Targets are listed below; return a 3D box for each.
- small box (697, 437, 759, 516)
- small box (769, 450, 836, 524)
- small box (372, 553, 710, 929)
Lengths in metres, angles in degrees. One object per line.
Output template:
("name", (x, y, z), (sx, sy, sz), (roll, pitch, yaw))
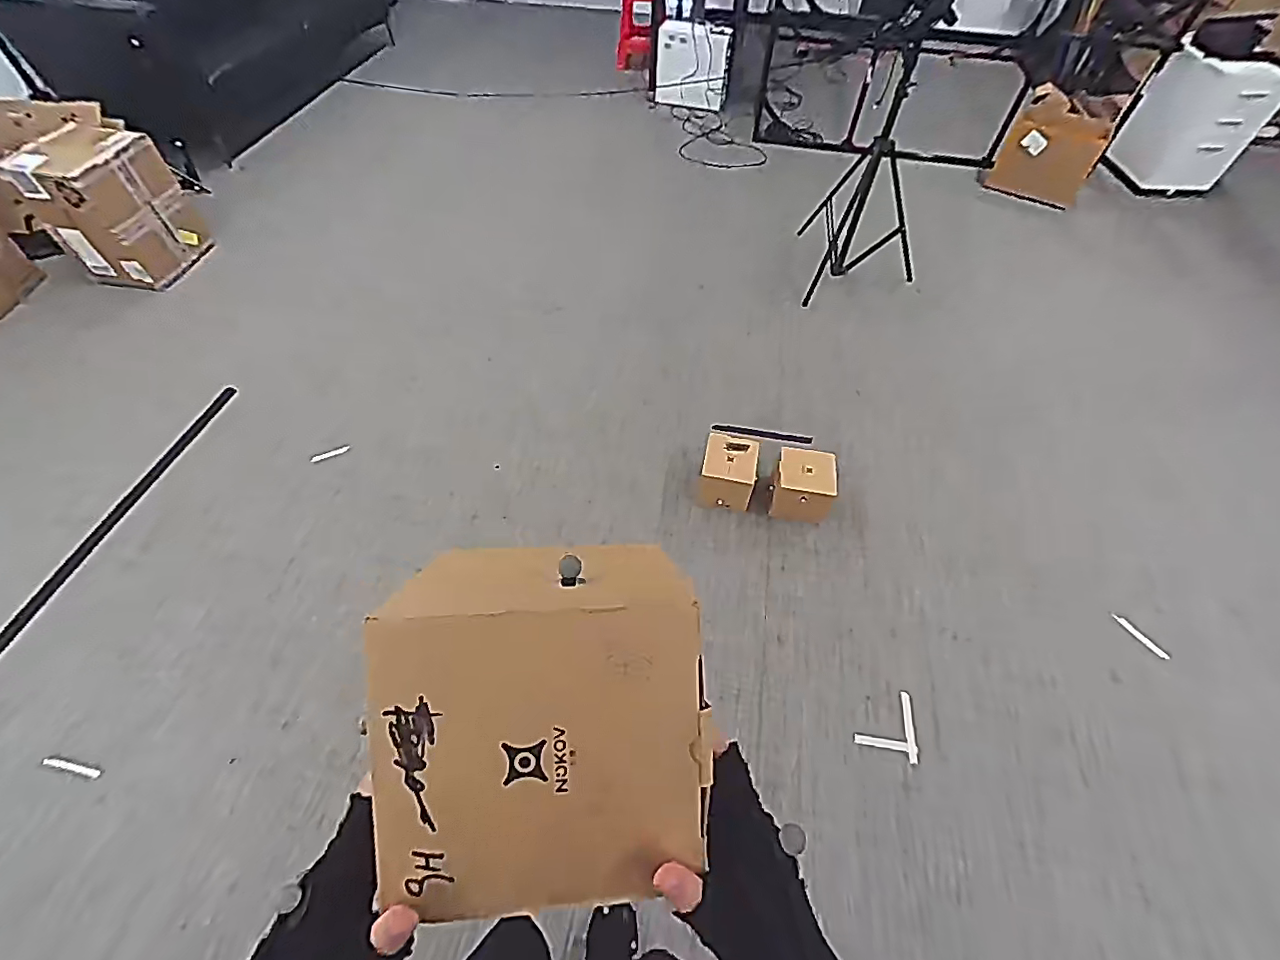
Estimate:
("small box", (0.286, -0.010, 1.773), (0.168, 0.176, 0.179), (11, 55, 7))
("small box", (0.521, 0.027, 1.755), (0.179, 0.176, 0.168), (9, 56, 4))
("small box", (-0.058, 0.146, 0.366), (0.179, 0.176, 0.168), (-1, 93, -6))
